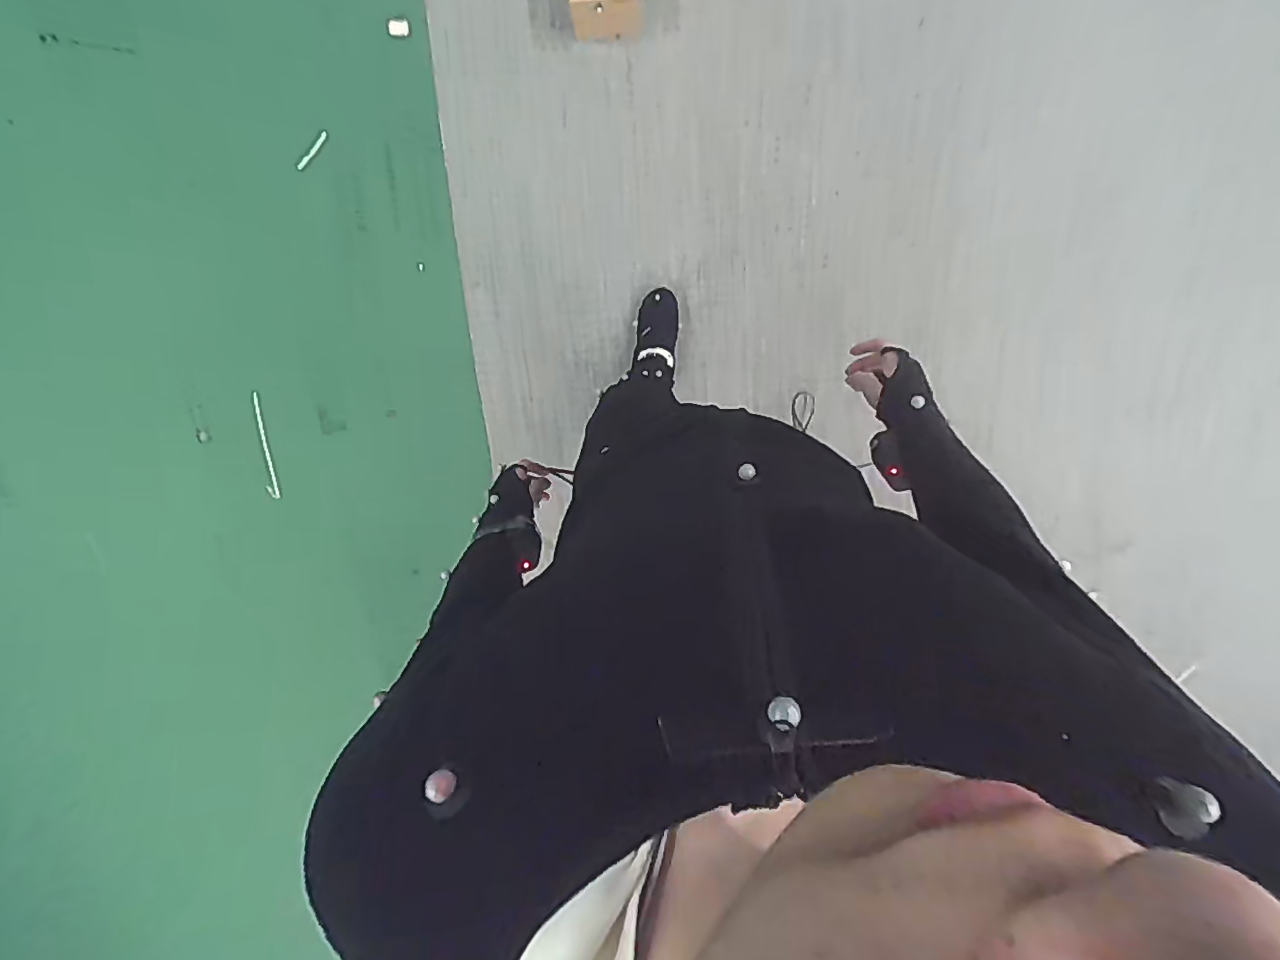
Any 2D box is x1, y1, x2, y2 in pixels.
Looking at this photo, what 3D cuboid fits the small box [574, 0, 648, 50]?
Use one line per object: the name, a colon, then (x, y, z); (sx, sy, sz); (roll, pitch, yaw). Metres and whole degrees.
small box: (-0.069, -1.160, 1.269); (0.168, 0.176, 0.179); (-4, 102, 2)
